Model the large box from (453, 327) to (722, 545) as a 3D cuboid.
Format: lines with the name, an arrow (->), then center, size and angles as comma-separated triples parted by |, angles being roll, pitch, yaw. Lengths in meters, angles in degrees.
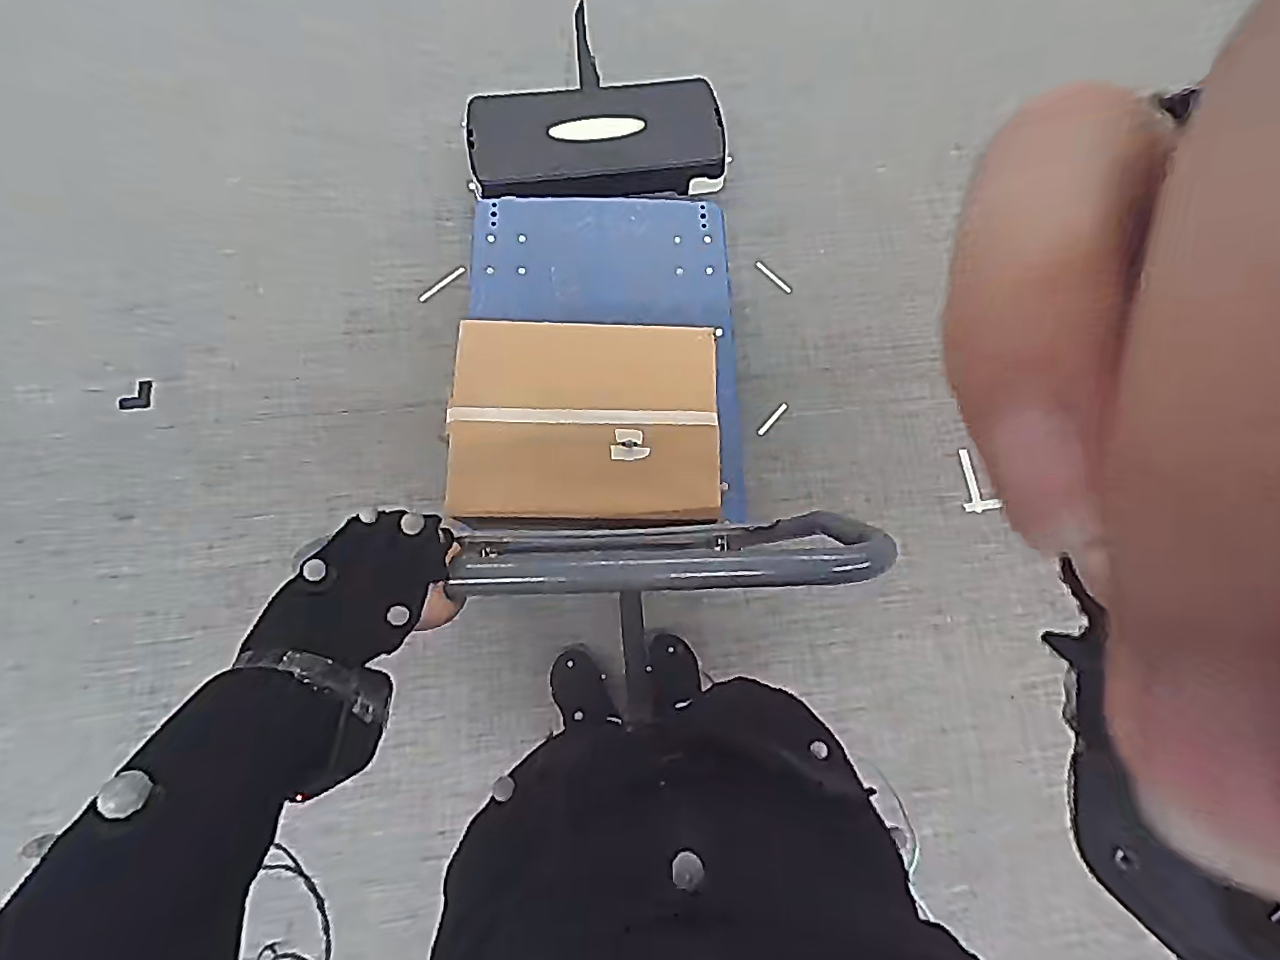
large box -> -0.088, -0.056, 0.971 | 0.408, 0.320, 0.320 | 1, 78, -4
